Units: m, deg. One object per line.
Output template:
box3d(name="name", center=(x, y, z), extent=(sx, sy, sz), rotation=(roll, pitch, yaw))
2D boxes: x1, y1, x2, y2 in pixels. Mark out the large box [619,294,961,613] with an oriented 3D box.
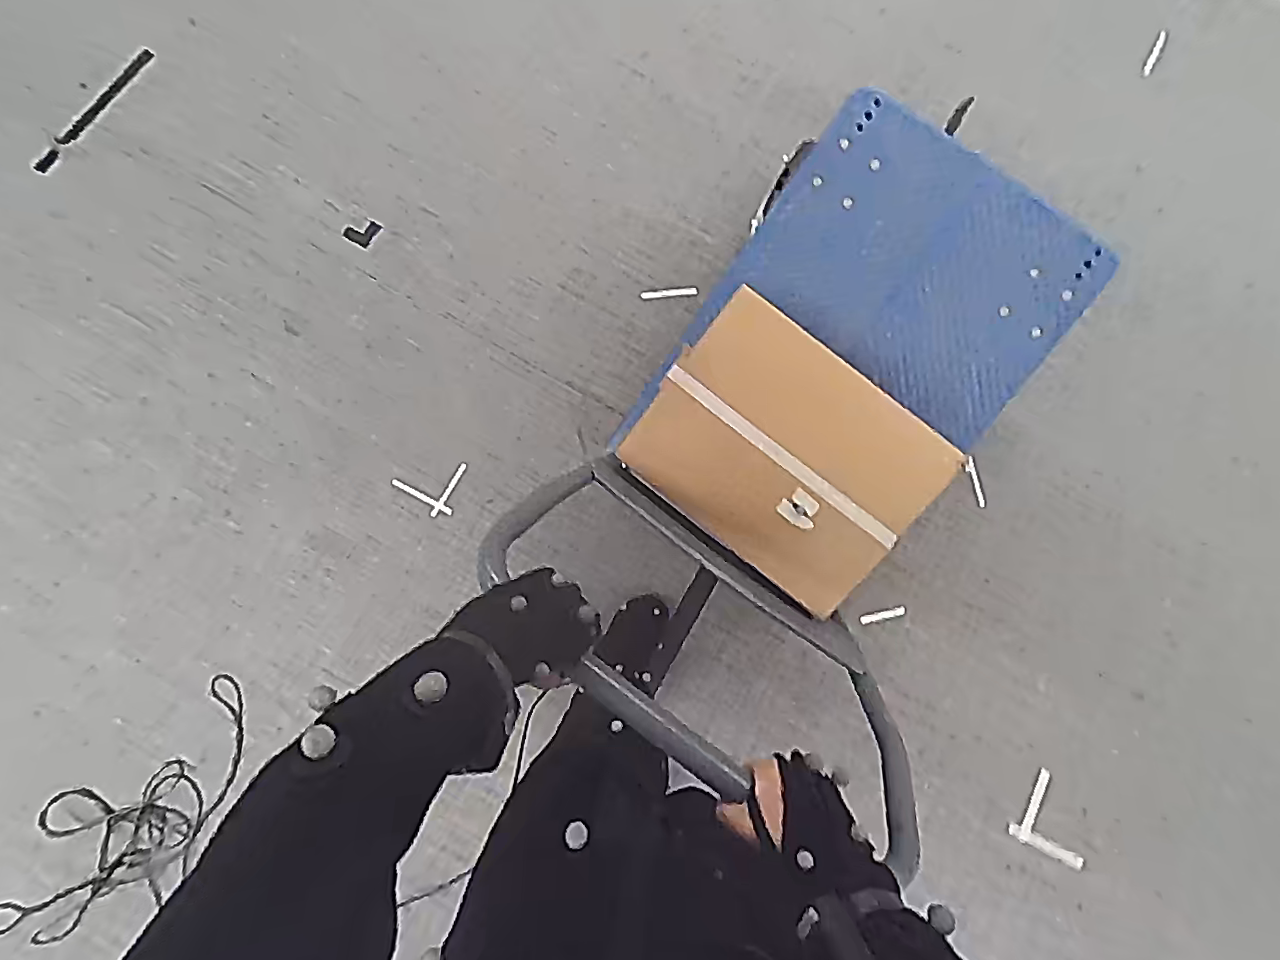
box3d(name="large box", center=(0.227, -0.052, 0.942), extent=(0.408, 0.320, 0.320), rotation=(38, 101, 1))
